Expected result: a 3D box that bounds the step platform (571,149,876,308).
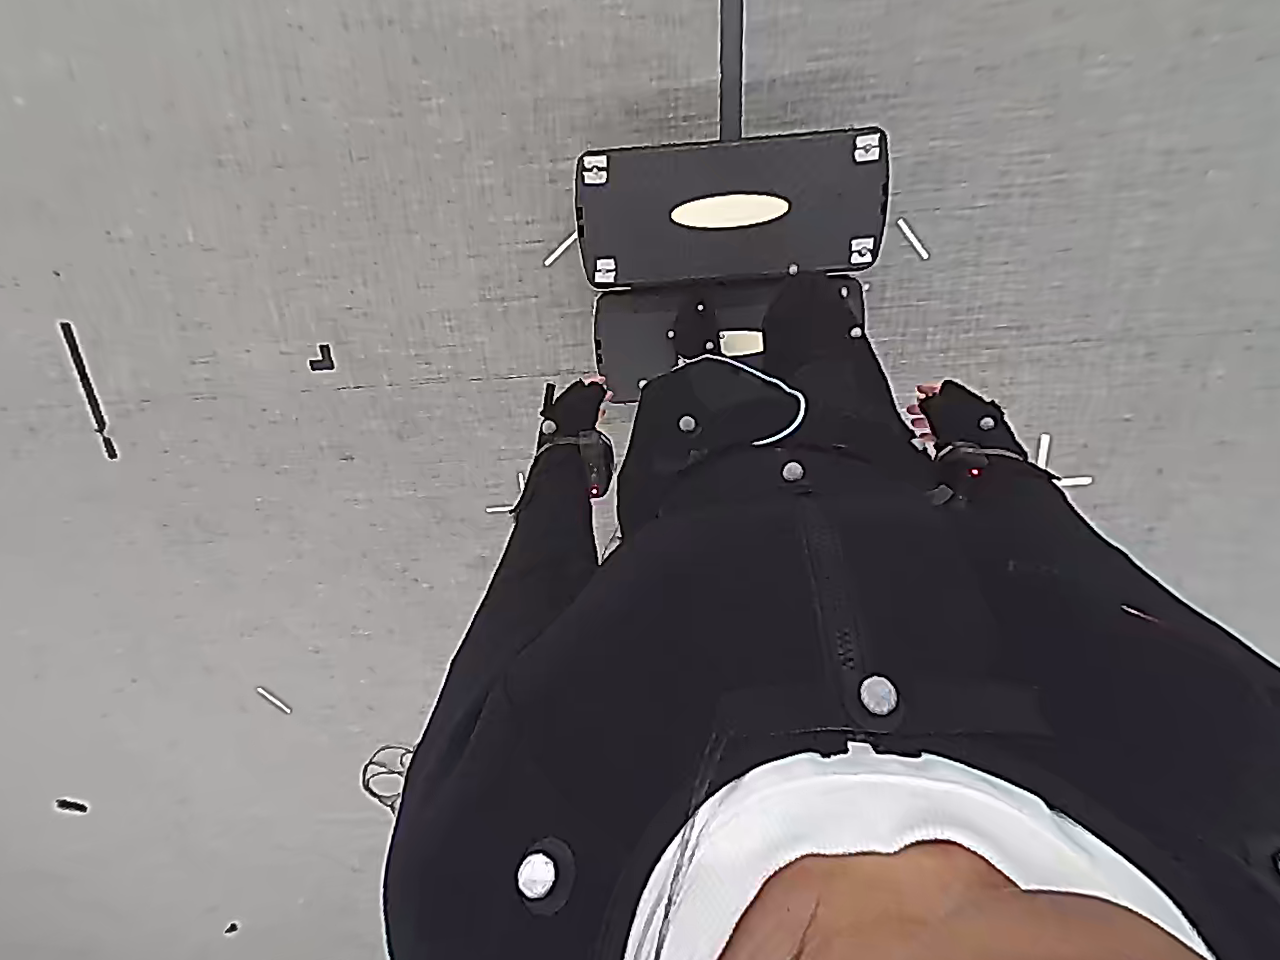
[{"bbox_3d":[0.182,-0.574,1.264,0.684,0.204,0.286,-4,110,4],"label":"step platform"}]
